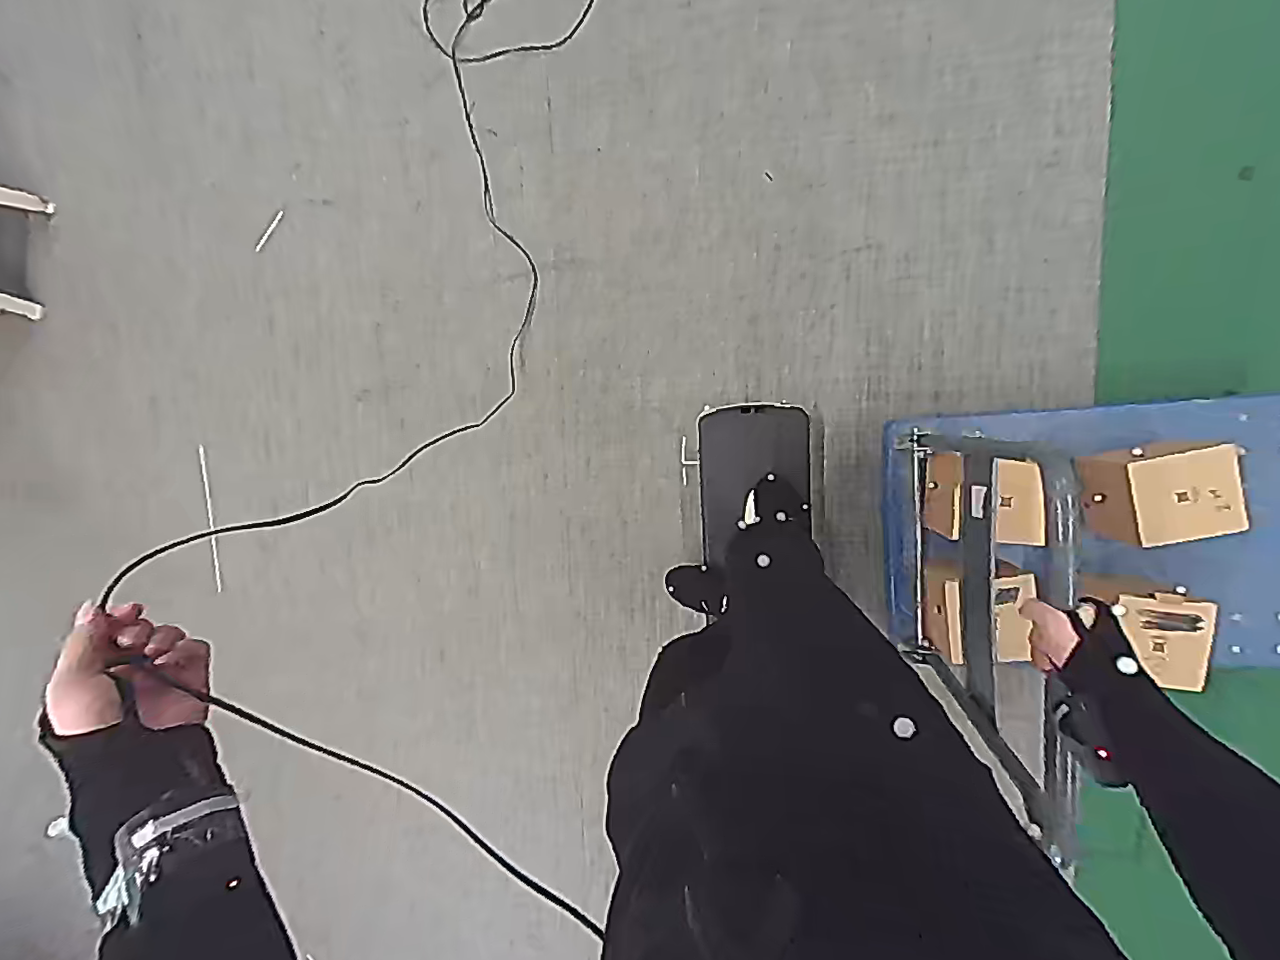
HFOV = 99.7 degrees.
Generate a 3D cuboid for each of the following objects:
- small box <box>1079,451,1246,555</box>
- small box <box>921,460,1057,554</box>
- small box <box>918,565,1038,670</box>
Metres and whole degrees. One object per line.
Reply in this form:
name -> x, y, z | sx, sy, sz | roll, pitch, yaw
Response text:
small box -> 1.014, 0.040, 1.069 | 0.179, 0.176, 0.168 | -12, 94, 11
small box -> 0.714, 0.047, 1.124 | 0.179, 0.176, 0.168 | 4, 96, 10
small box -> 0.705, 0.283, 1.145 | 0.168, 0.176, 0.179 | -6, 95, 11
